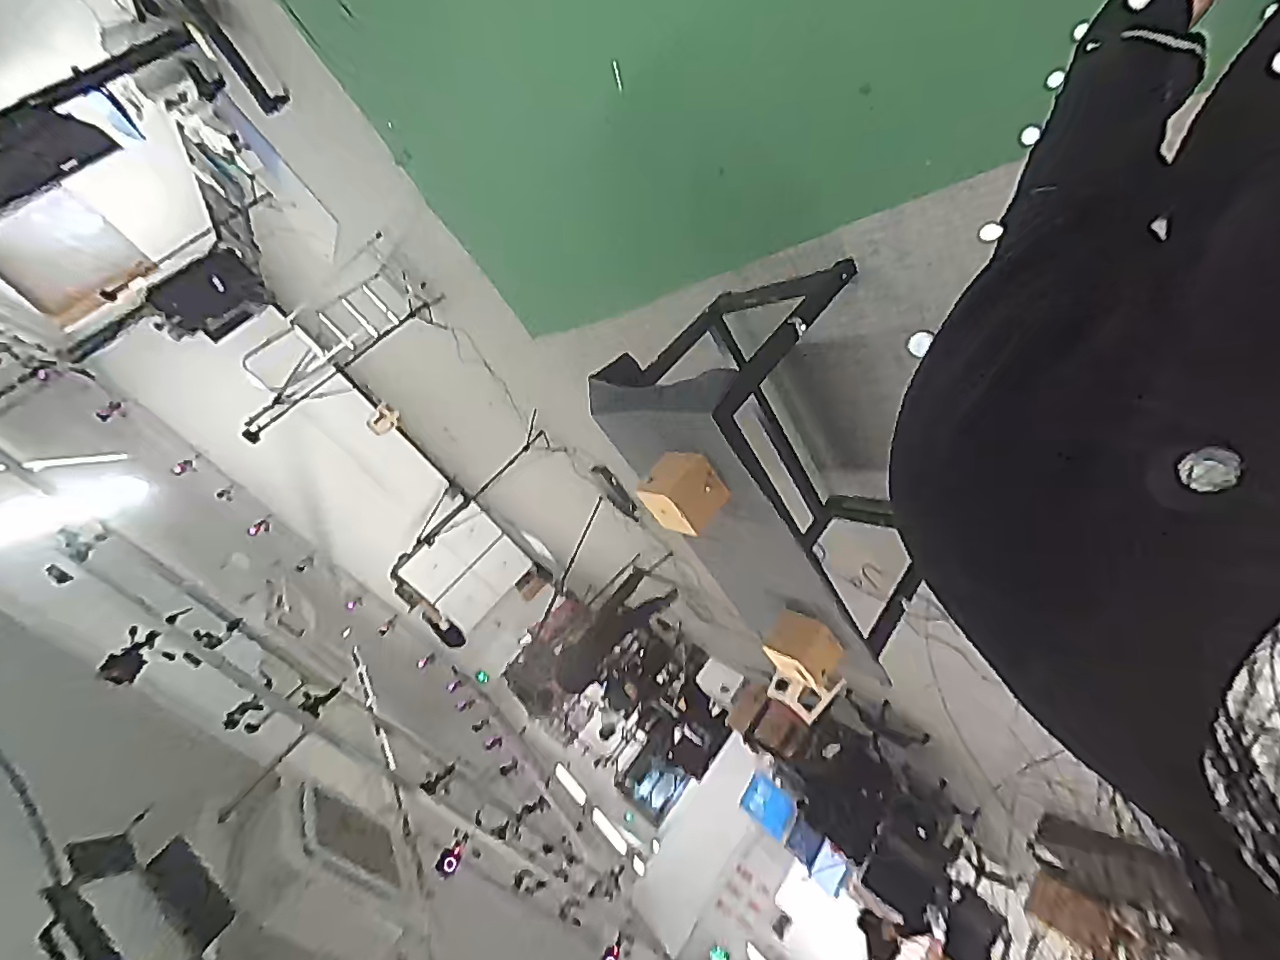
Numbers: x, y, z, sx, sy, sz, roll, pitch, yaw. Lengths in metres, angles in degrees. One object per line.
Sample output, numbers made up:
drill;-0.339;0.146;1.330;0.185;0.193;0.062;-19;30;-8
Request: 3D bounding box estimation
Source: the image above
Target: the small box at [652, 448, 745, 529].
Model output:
small box;0.174;0.019;1.593;0.168;0.176;0.179;50;160;-25
